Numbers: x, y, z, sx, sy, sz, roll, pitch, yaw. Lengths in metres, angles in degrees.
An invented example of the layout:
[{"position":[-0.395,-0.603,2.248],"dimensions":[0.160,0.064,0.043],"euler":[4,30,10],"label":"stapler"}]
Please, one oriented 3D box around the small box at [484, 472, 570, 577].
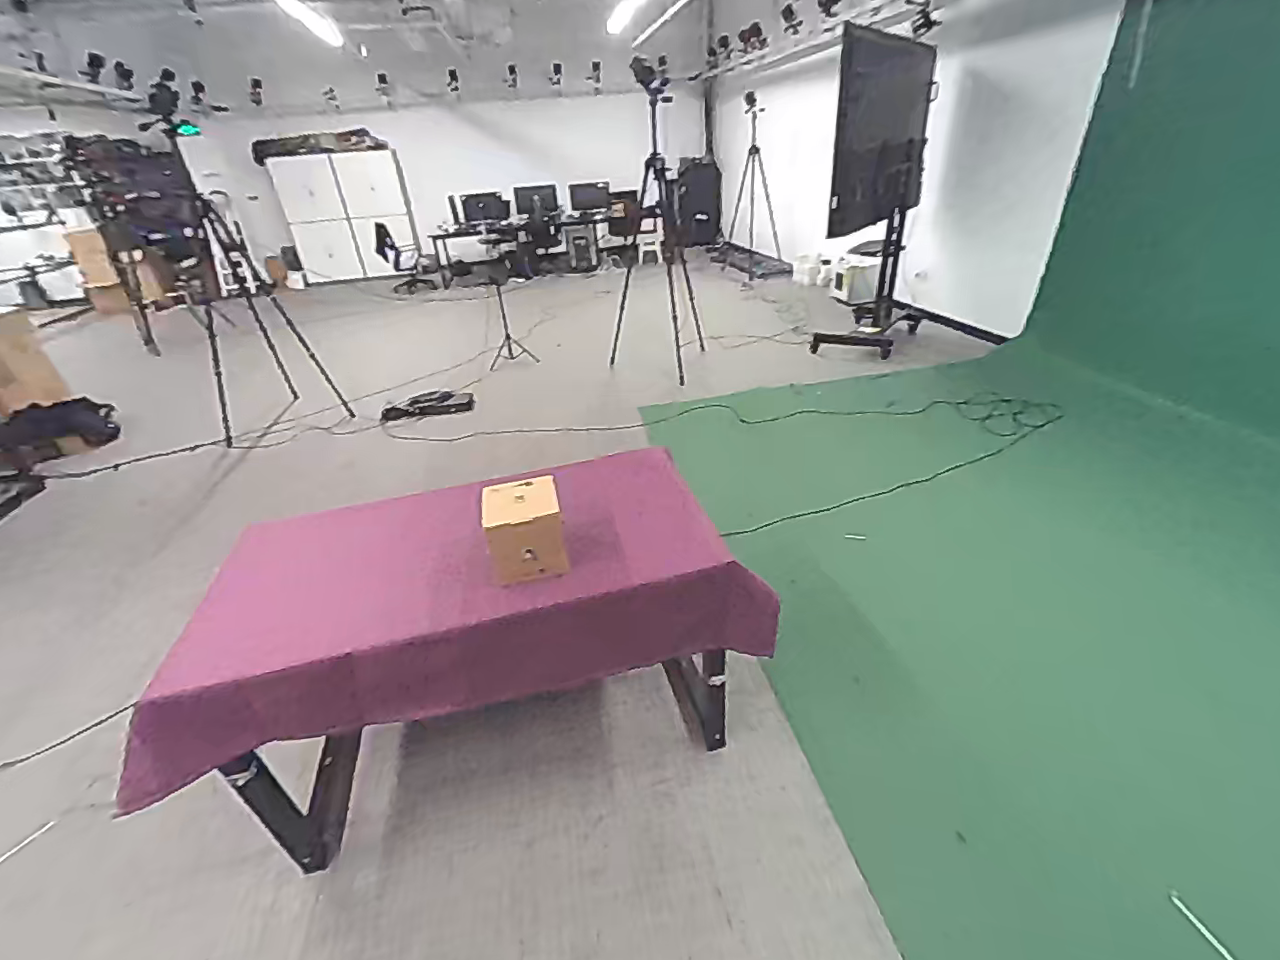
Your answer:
[{"position":[-0.262,0.108,1.259],"dimensions":[0.168,0.176,0.179],"euler":[-10,33,-9],"label":"small box"}]
